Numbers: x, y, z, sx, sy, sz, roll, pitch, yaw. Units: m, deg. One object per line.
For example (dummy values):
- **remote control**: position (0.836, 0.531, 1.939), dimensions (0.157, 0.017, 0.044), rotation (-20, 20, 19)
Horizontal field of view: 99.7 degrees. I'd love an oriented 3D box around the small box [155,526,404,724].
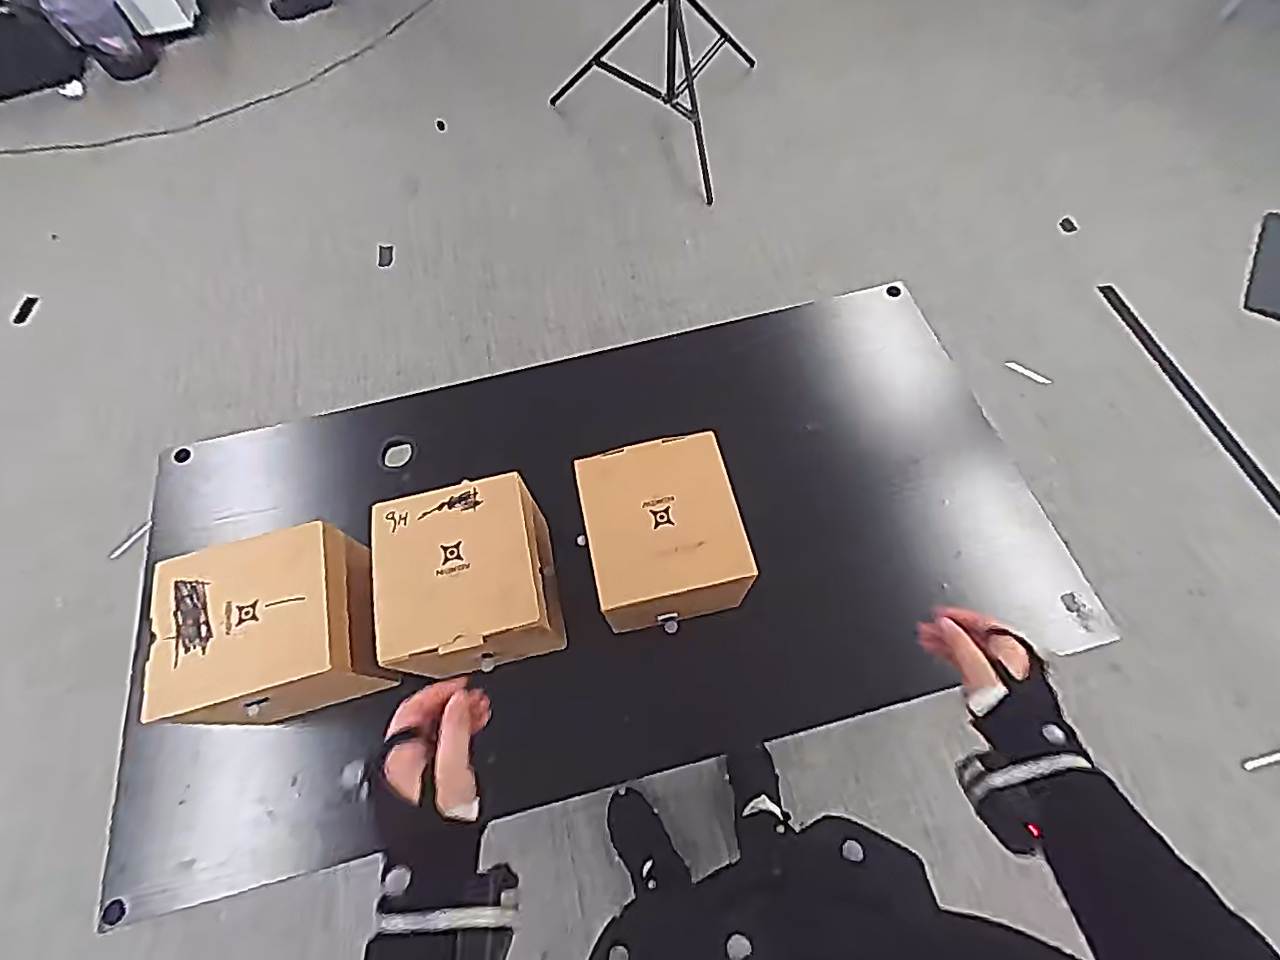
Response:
- **small box**: position (-0.402, 0.177, 0.632), dimensions (0.179, 0.176, 0.168), rotation (-15, 66, -6)
